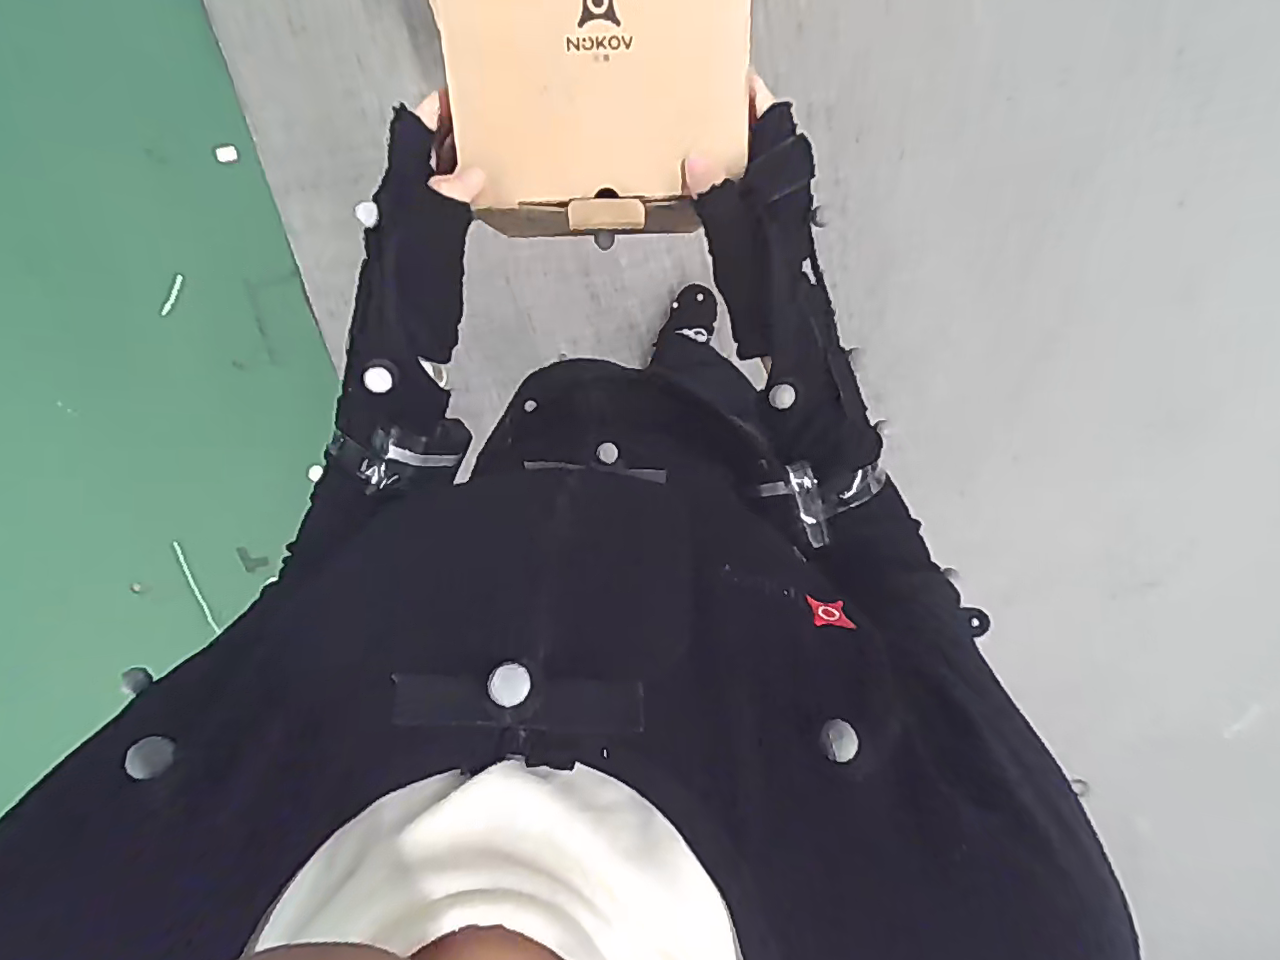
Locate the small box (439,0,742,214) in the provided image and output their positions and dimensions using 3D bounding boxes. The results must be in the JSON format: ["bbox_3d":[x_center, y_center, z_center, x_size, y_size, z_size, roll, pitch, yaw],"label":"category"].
[{"bbox_3d":[-0.030,-0.282,0.366,0.168,0.176,0.179,-4,111,-3],"label":"small box"}]
